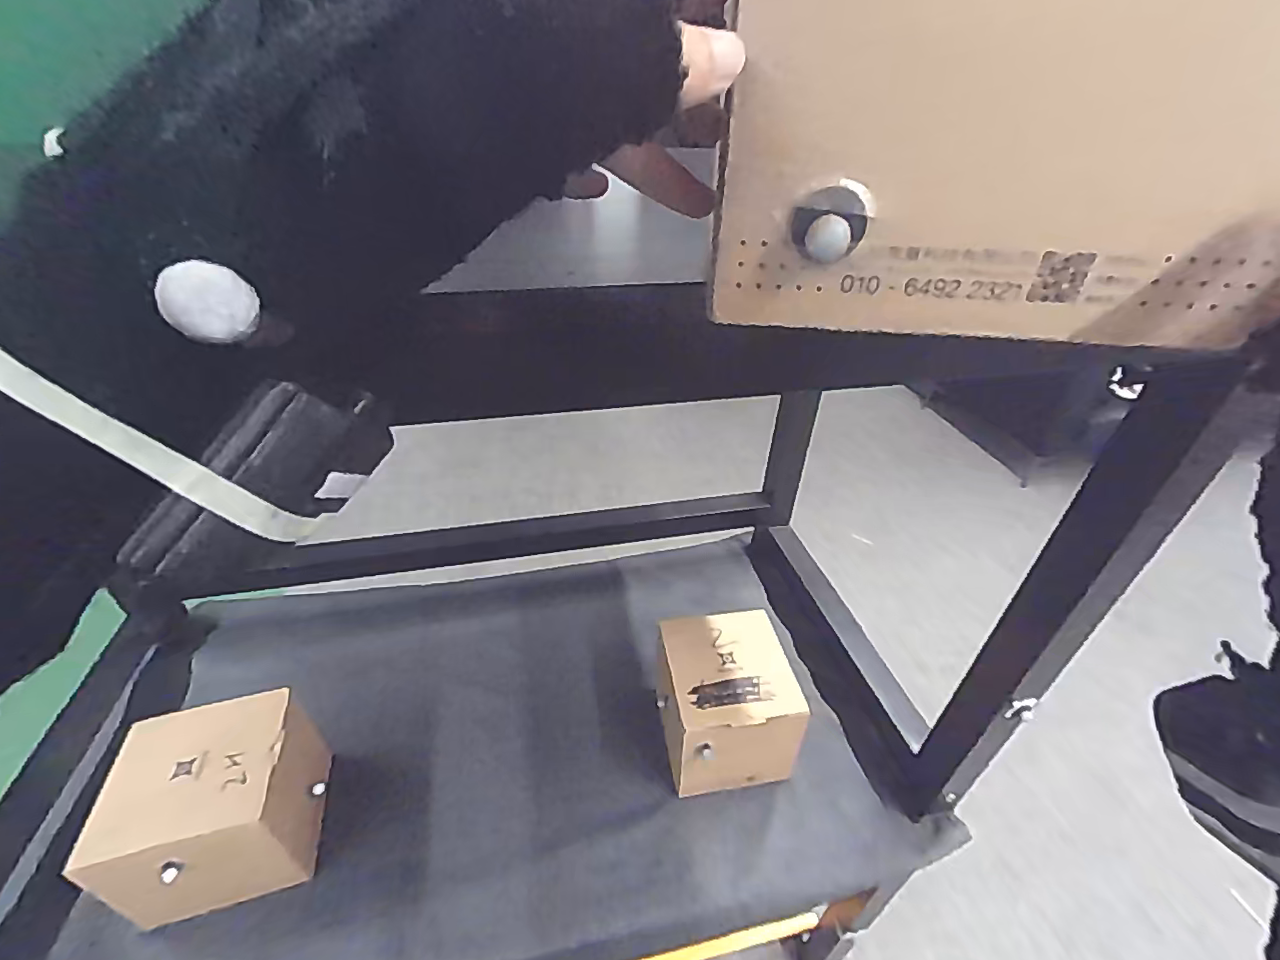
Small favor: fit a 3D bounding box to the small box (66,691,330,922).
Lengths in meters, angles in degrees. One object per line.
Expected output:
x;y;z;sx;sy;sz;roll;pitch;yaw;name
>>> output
-0.510;0.396;0.662;0.179;0.176;0.168;-8;37;-15;small box
